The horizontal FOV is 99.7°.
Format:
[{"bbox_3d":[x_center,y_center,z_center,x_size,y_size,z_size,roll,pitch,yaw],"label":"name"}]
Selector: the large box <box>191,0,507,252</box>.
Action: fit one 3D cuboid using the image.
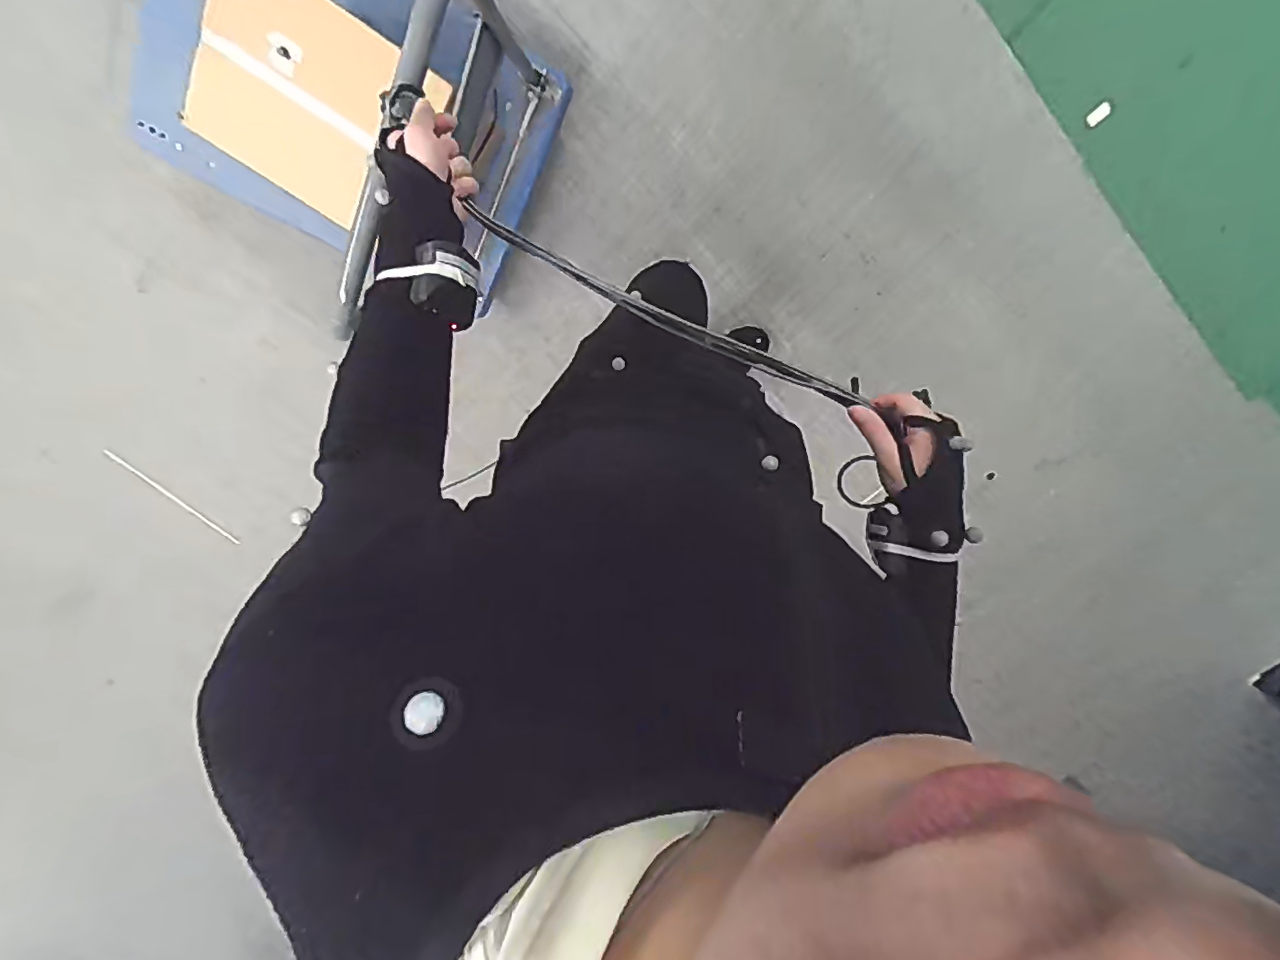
[{"bbox_3d":[-0.539,-0.696,1.067,0.408,0.320,0.320,31,110,-8],"label":"large box"}]
